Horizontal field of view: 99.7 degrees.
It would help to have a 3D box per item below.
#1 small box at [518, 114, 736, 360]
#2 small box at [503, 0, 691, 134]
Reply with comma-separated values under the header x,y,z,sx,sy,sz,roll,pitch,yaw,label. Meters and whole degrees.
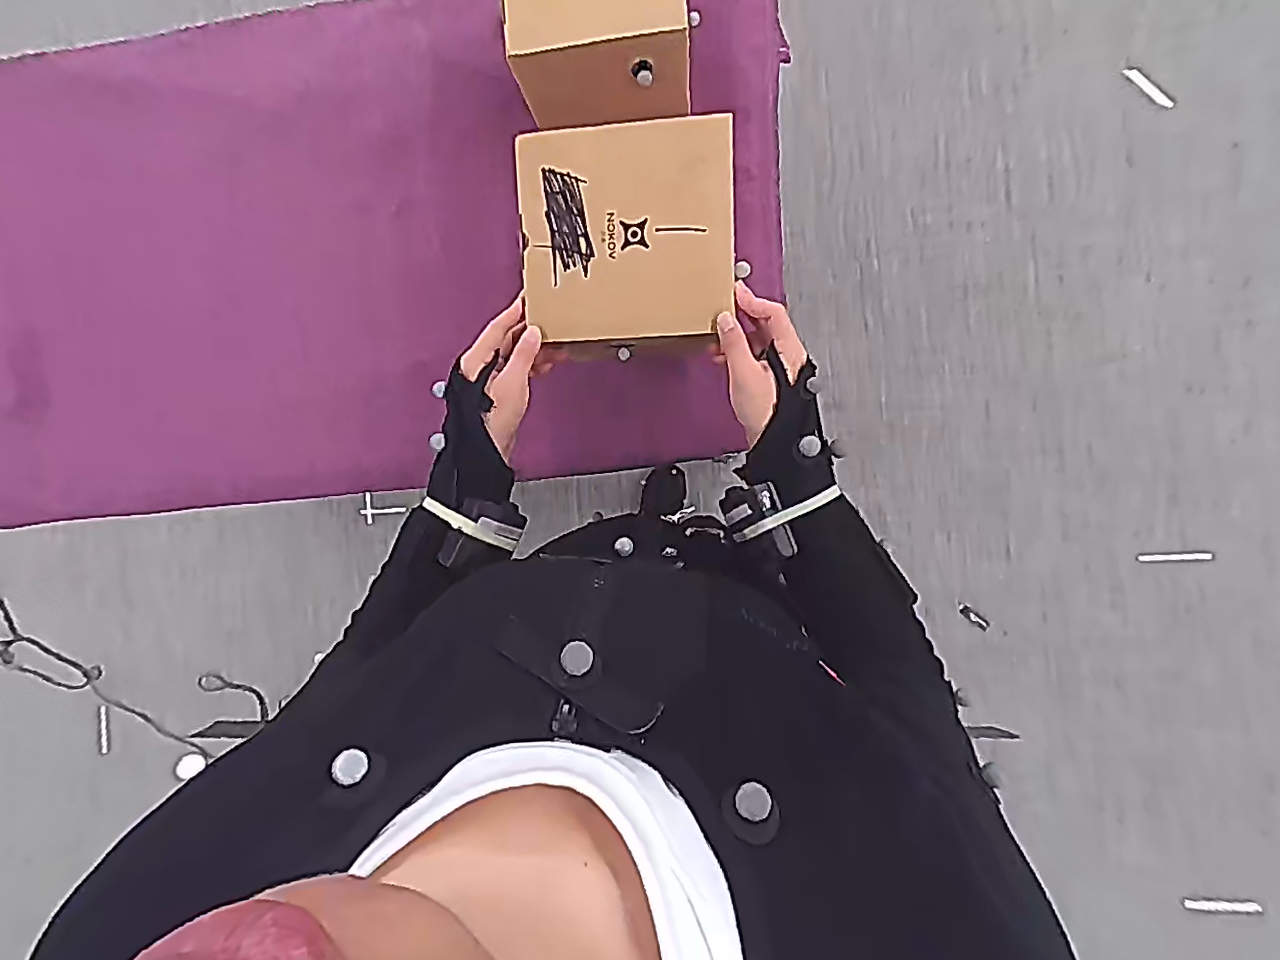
x,y,z,sx,sy,sz,roll,pitch,yaw,label
0.000,-0.207,0.512,0.179,0.176,0.168,-1,97,8,small box
-0.037,-0.486,0.581,0.179,0.176,0.168,-4,90,7,small box
